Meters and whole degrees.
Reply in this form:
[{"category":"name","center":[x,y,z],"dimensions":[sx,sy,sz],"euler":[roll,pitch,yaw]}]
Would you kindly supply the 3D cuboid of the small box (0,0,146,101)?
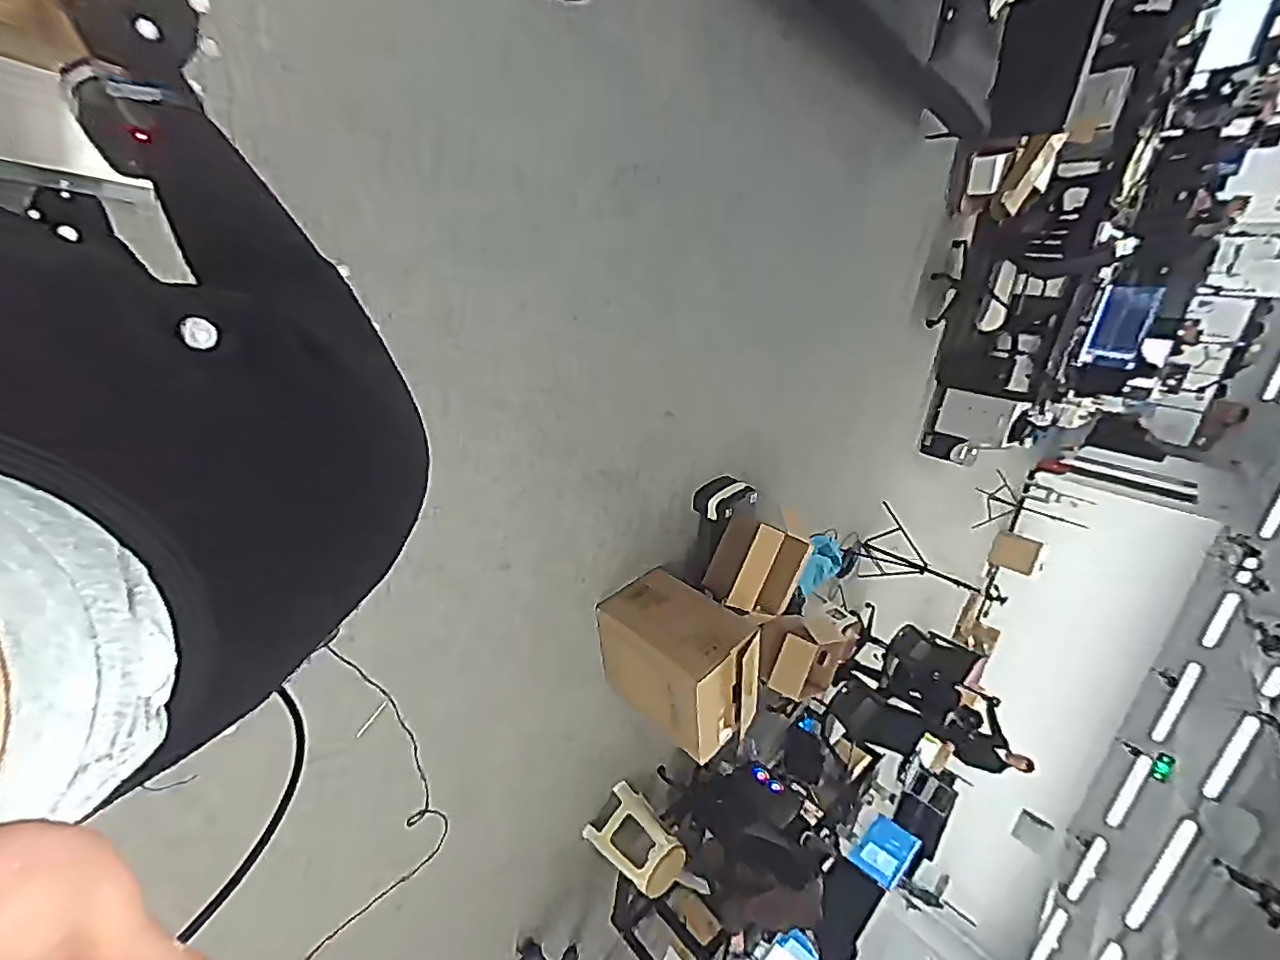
[{"category":"small box","center":[-0.607,-0.494,0.520],"dimensions":[0.179,0.176,0.168],"euler":[-7,112,-43]}]
